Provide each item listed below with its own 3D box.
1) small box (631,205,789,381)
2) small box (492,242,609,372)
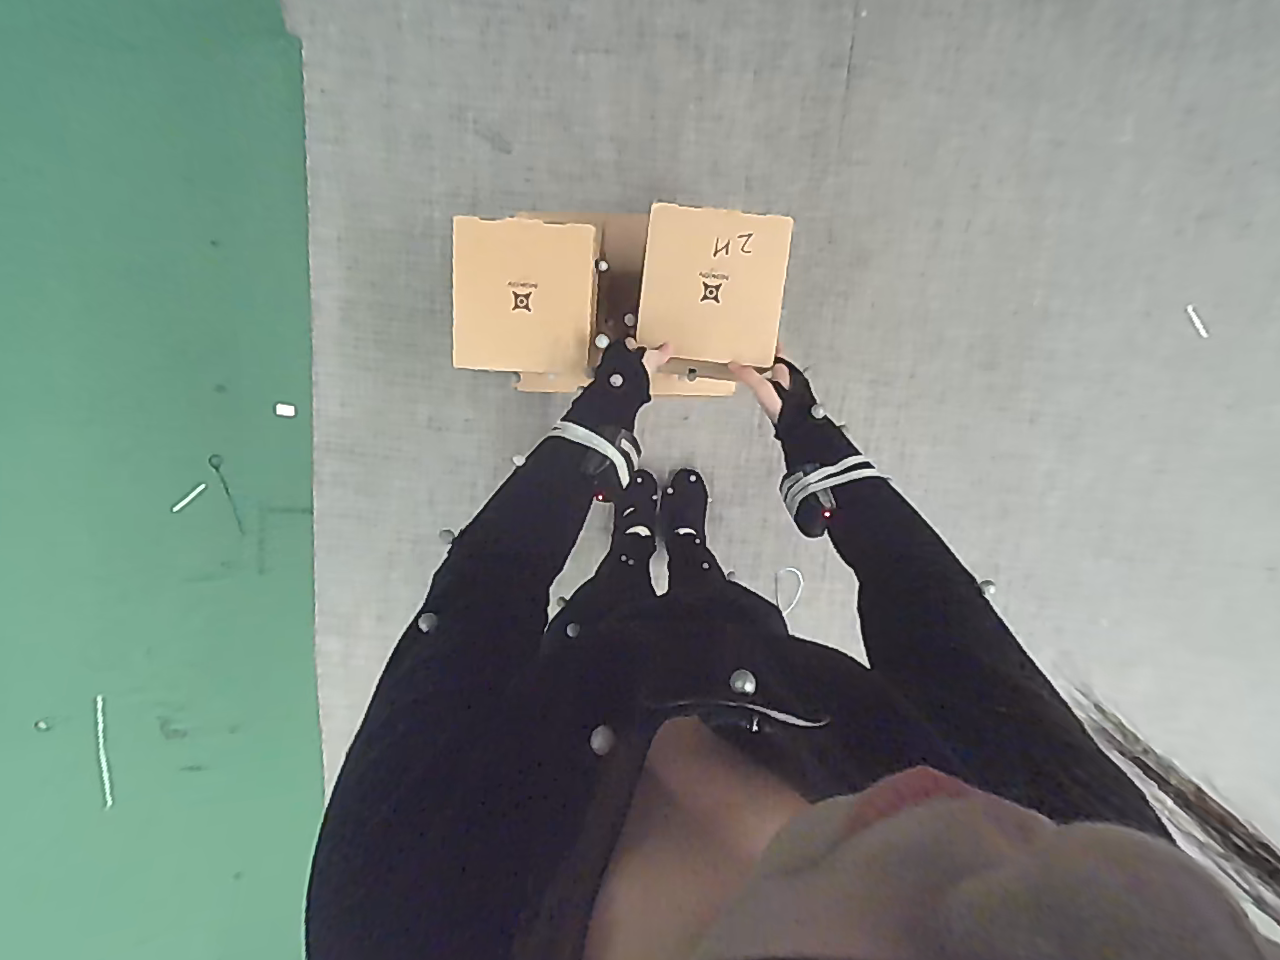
[{"bbox_3d":[0.083,-0.232,0.716,0.168,0.176,0.179,8,96,0],"label":"small box"},{"bbox_3d":[-0.140,-0.273,0.889,0.168,0.176,0.179,4,101,-1],"label":"small box"}]
